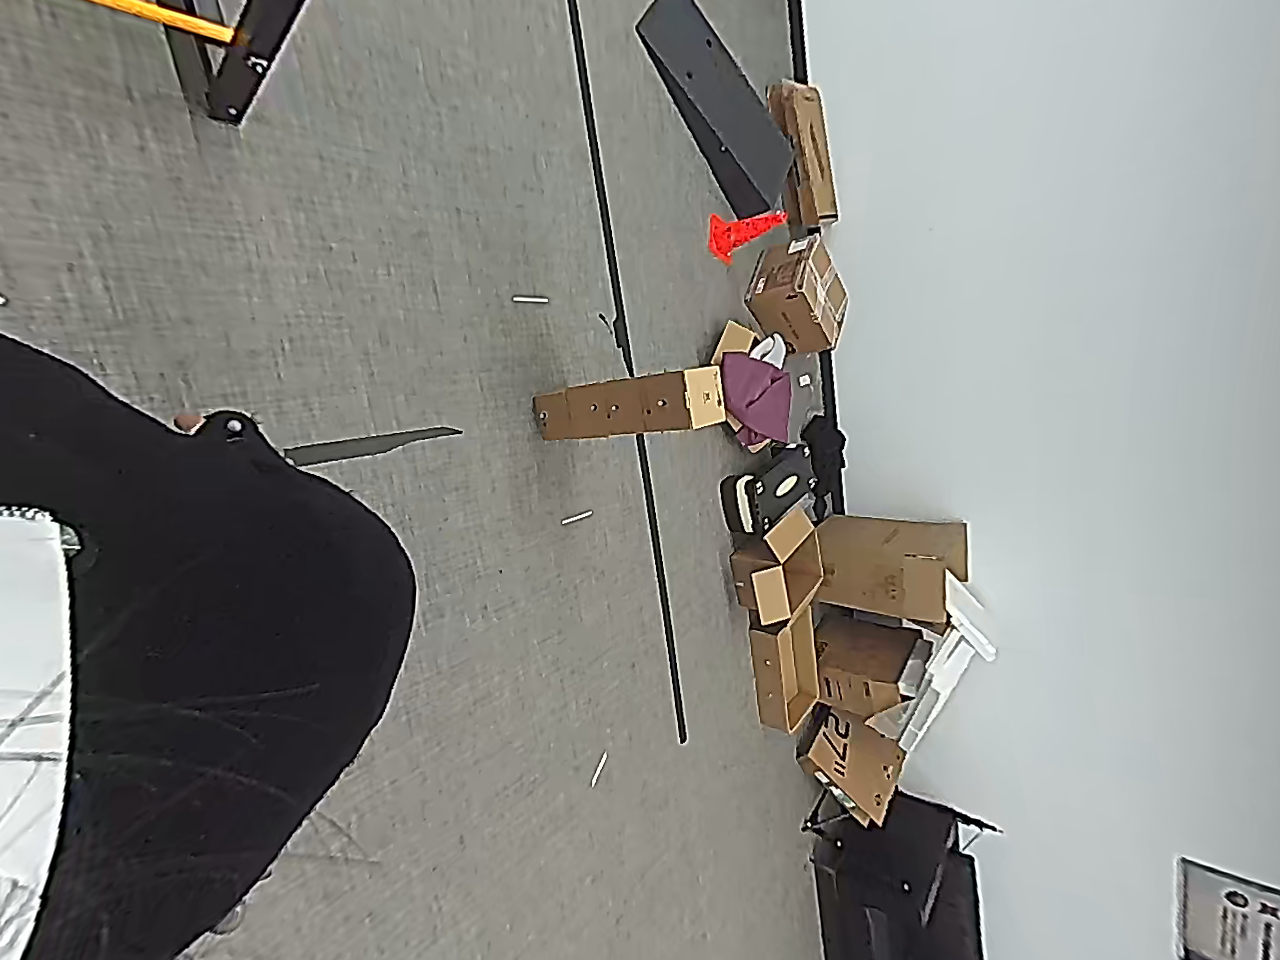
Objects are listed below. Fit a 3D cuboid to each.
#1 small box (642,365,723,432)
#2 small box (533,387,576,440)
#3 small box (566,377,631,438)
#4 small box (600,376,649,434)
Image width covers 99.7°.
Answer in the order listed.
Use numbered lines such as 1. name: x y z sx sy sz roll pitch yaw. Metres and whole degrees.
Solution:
1. small box: 0.118 -0.237 1.581 0.179 0.176 0.168 -18 104 -46
2. small box: -0.249 -0.241 1.909 0.179 0.176 0.168 -25 108 -44
3. small box: -0.126 -0.240 1.800 0.168 0.176 0.179 -20 105 -46
4. small box: -0.001 -0.236 1.692 0.179 0.176 0.168 -15 101 -47
